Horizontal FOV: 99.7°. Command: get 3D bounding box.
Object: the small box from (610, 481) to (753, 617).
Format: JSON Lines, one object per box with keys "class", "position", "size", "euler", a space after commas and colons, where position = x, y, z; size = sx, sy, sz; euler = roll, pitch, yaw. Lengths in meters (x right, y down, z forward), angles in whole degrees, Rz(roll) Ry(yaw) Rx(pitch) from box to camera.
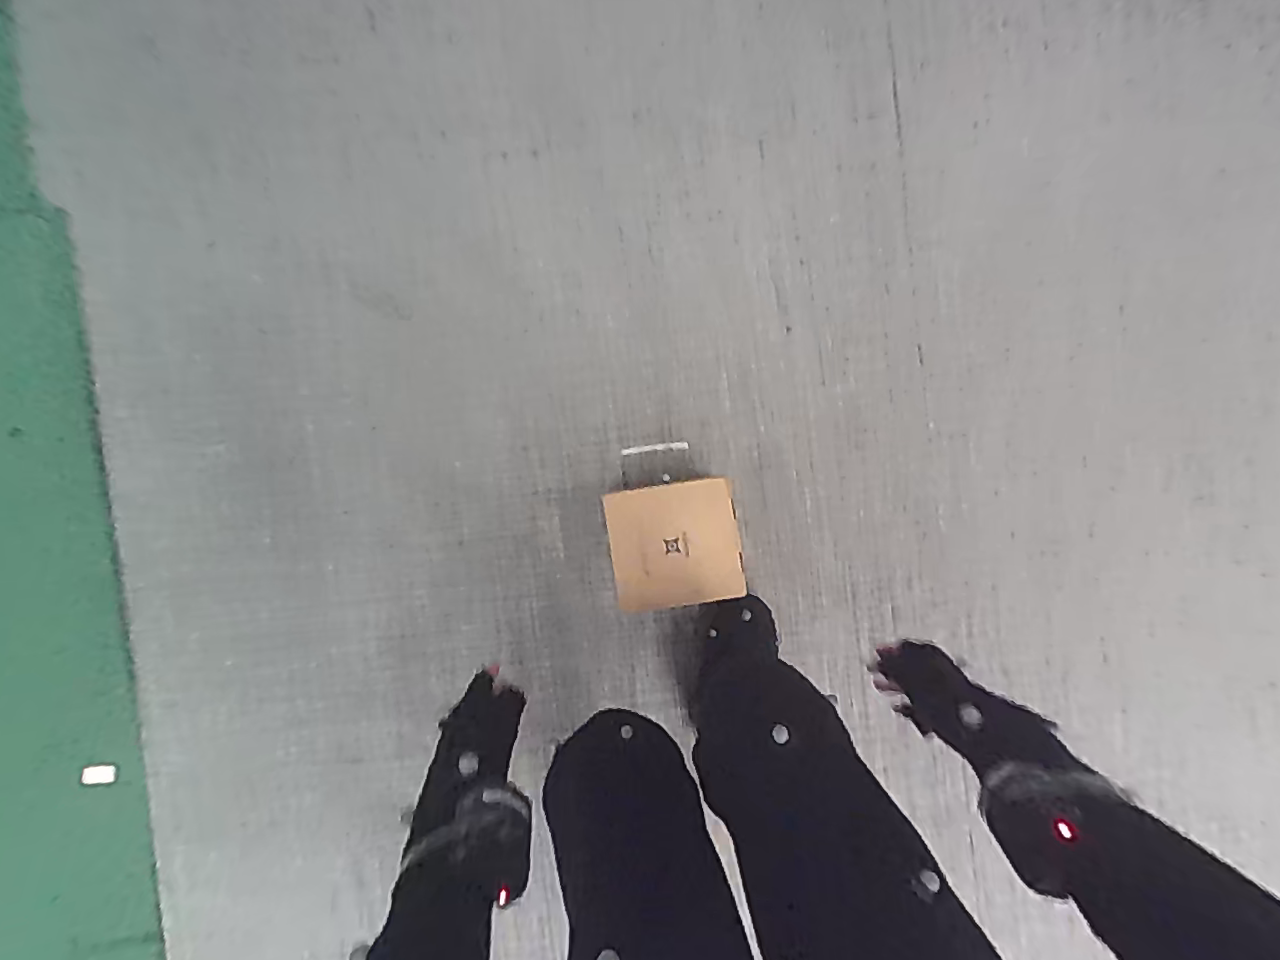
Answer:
{"class": "small box", "position": [0.057, 0.093, 0.813], "size": [0.179, 0.176, 0.168], "euler": [-10, 90, 2]}
